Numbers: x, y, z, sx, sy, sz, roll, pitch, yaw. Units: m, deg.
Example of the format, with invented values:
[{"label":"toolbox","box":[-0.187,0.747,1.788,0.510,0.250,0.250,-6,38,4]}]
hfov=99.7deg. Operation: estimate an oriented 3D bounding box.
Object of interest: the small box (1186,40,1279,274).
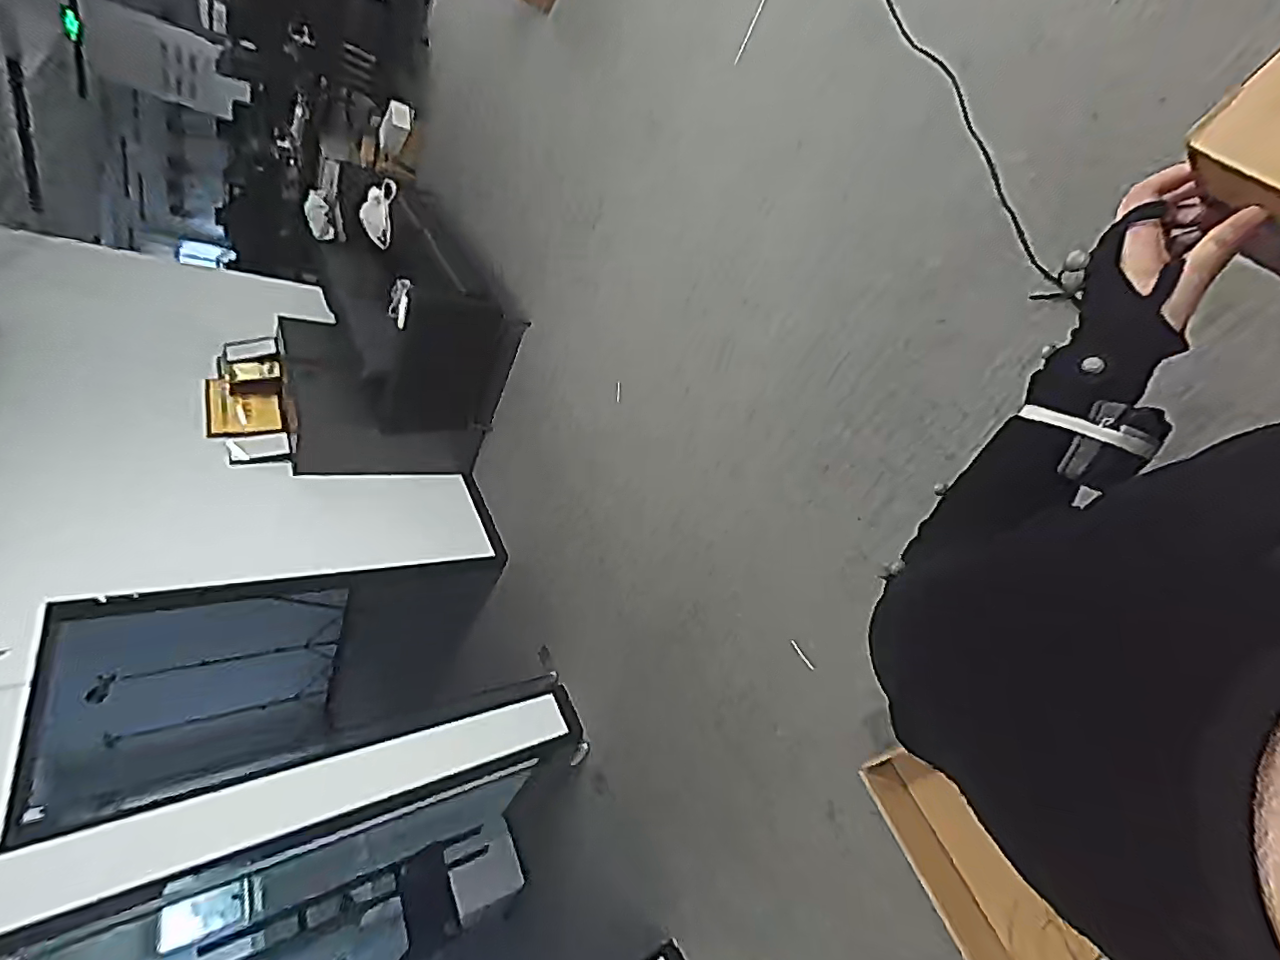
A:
[{"label":"small box","box":[0.454,-0.185,0.281,0.168,0.176,0.179,-51,51,35]}]
